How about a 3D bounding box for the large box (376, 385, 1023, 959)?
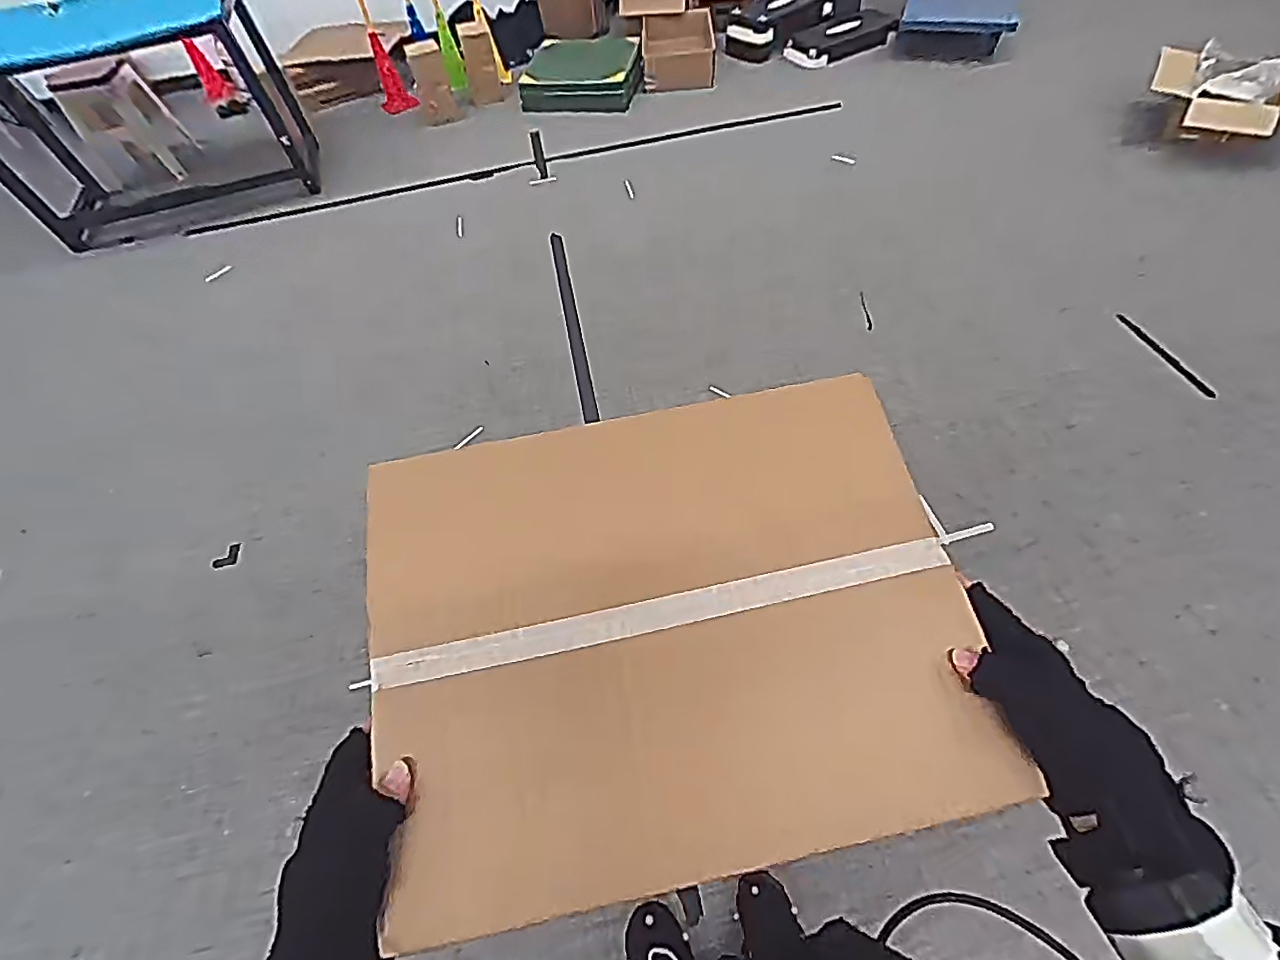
[{"bbox_3d":[0.023,0.154,0.519,0.408,0.320,0.320,-12,67,-3],"label":"large box"}]
